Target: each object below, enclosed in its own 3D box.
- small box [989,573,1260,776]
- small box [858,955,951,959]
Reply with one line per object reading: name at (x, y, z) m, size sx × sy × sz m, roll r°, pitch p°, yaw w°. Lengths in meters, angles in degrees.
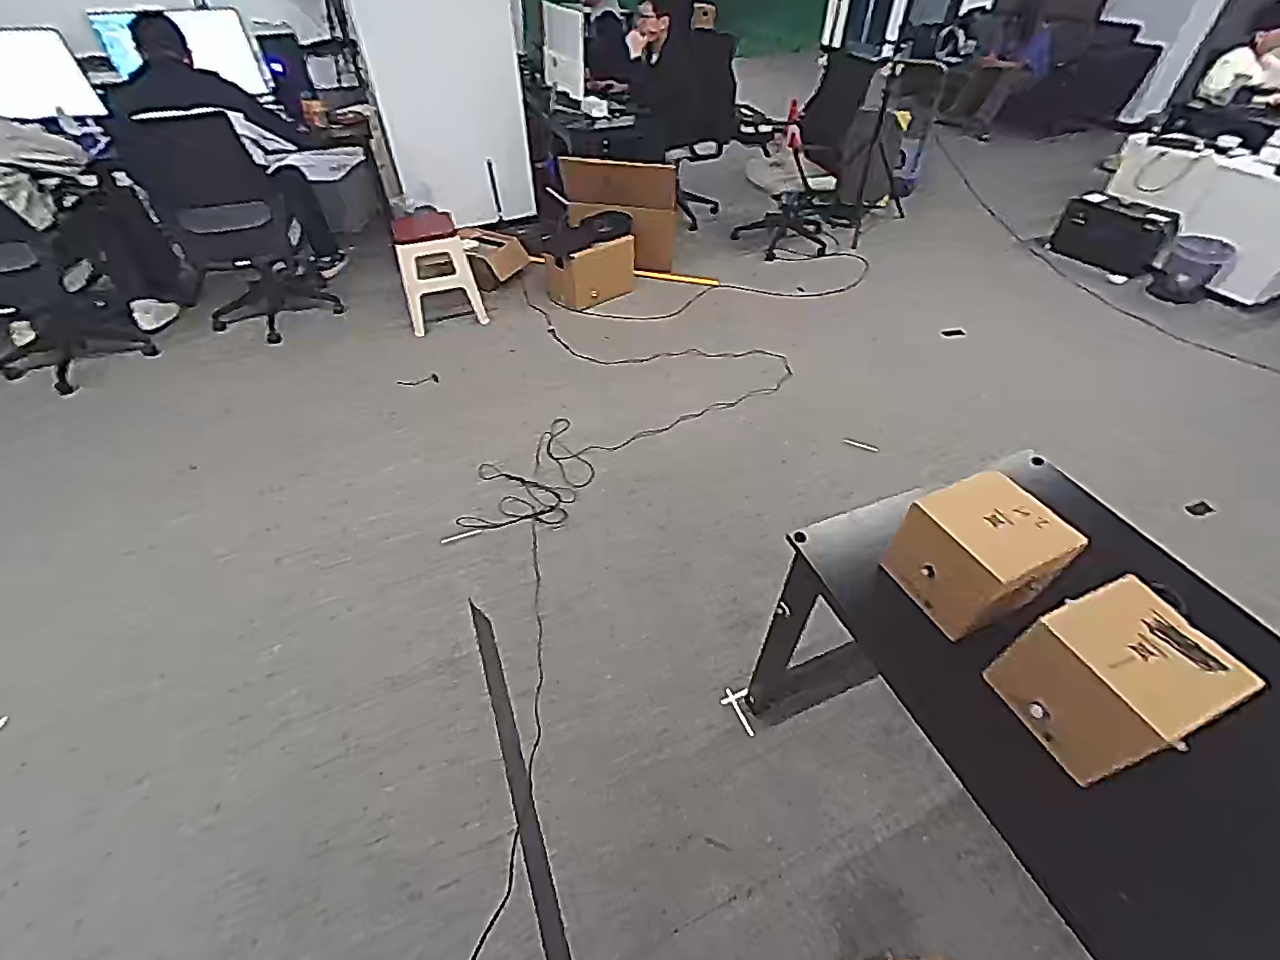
small box at (0.617, 0.258, 0.718) m, size 0.179 × 0.176 × 0.168 m, roll -17°, pitch 48°, yaw -15°
small box at (0.503, 1.010, 1.009) m, size 0.168 × 0.176 × 0.179 m, roll -1°, pitch 45°, yaw -2°
